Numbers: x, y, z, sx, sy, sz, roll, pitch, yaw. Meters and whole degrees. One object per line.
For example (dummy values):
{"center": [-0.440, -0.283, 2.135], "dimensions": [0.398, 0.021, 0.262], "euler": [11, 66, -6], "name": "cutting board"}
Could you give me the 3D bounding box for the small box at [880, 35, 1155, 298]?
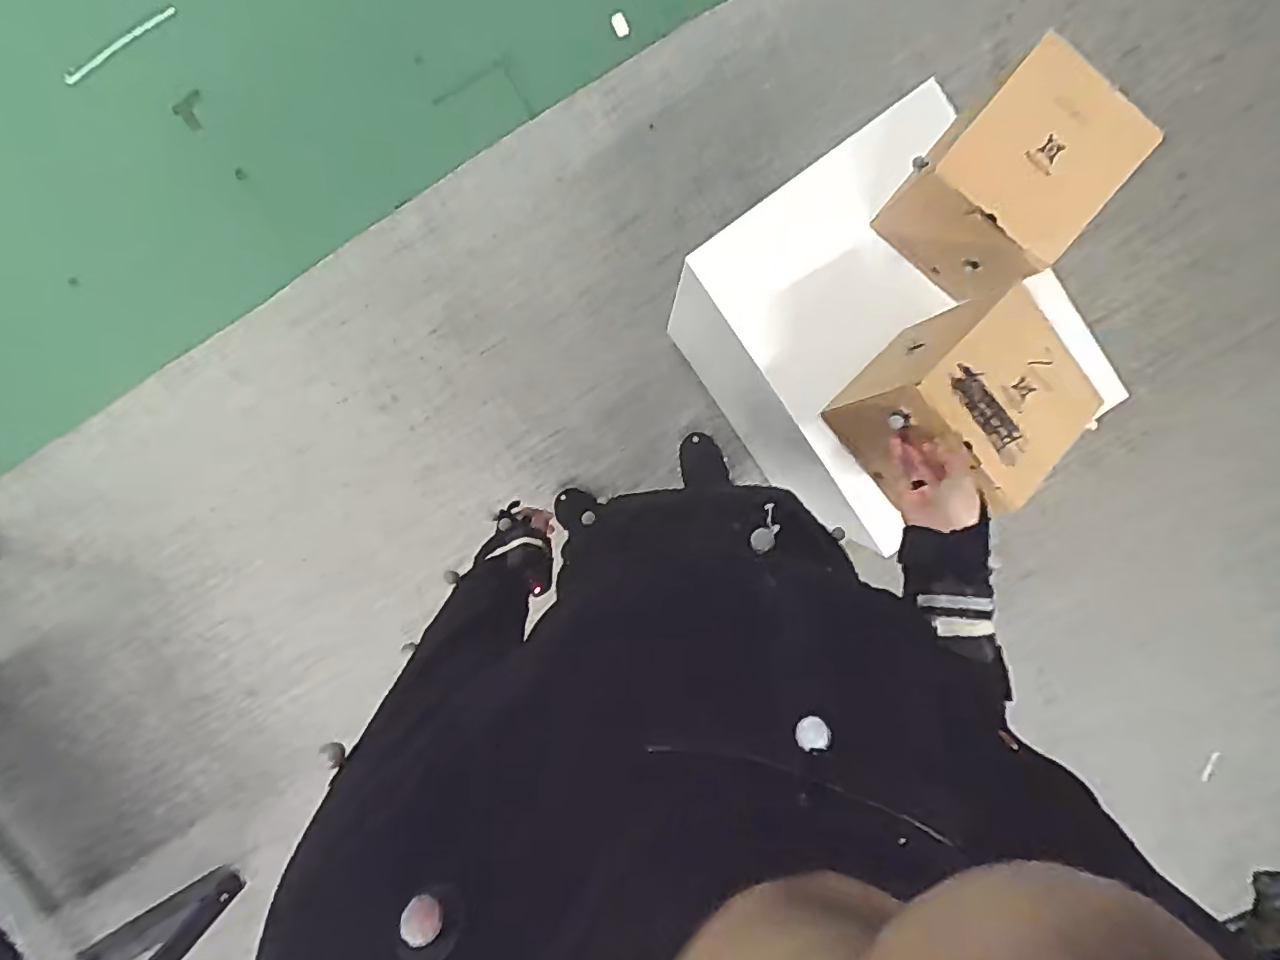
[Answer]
{"center": [0.417, -0.344, 0.639], "dimensions": [0.168, 0.176, 0.179], "euler": [38, 94, -4], "name": "small box"}
